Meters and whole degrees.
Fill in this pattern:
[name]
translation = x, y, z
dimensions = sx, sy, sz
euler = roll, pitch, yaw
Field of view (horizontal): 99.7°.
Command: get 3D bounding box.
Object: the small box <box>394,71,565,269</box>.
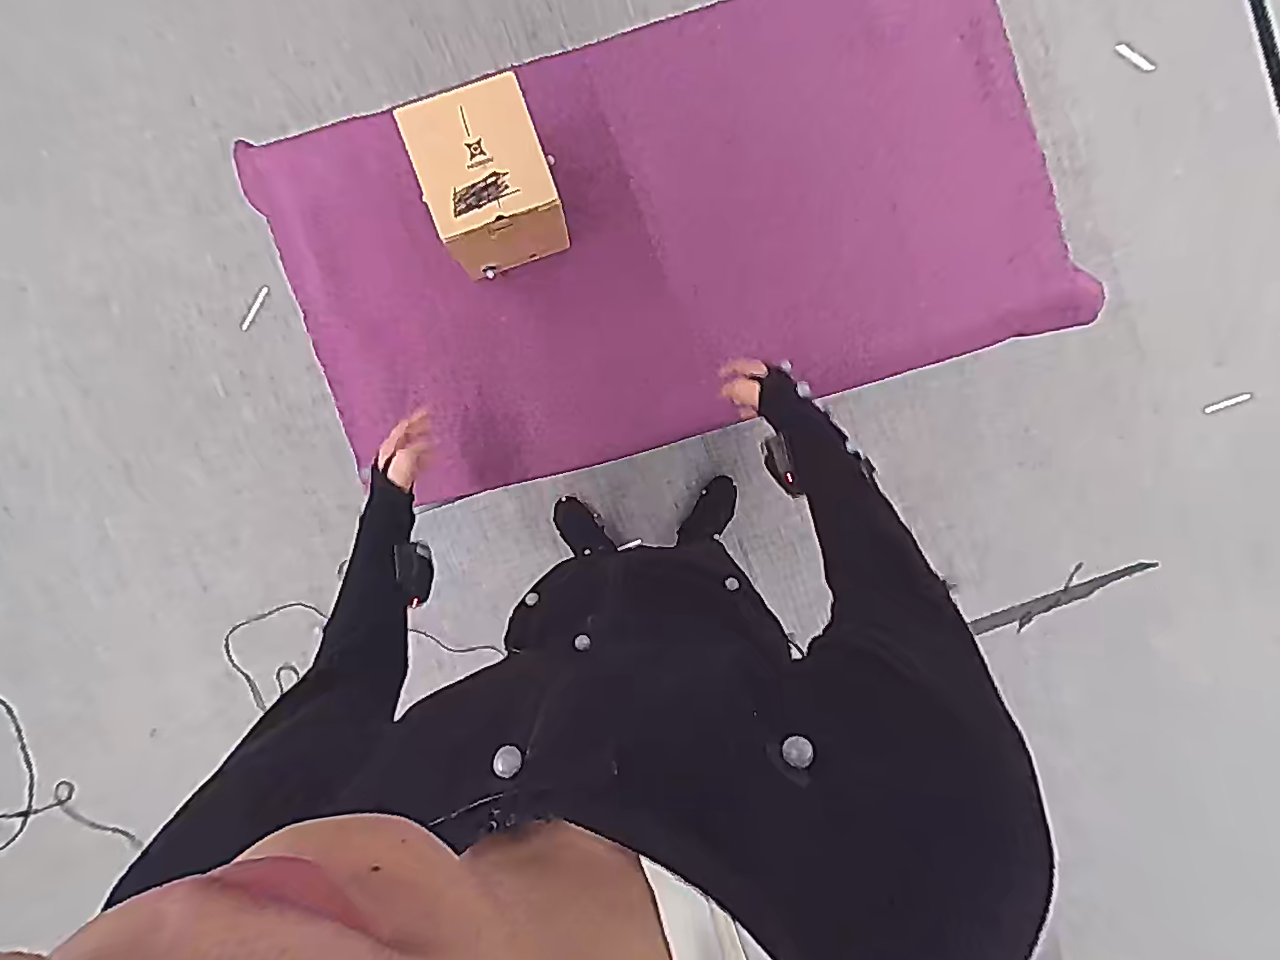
[small box]
translation = -0.215, -0.424, 0.779
dimensions = 0.168, 0.176, 0.179
euler = -20, 94, -2
